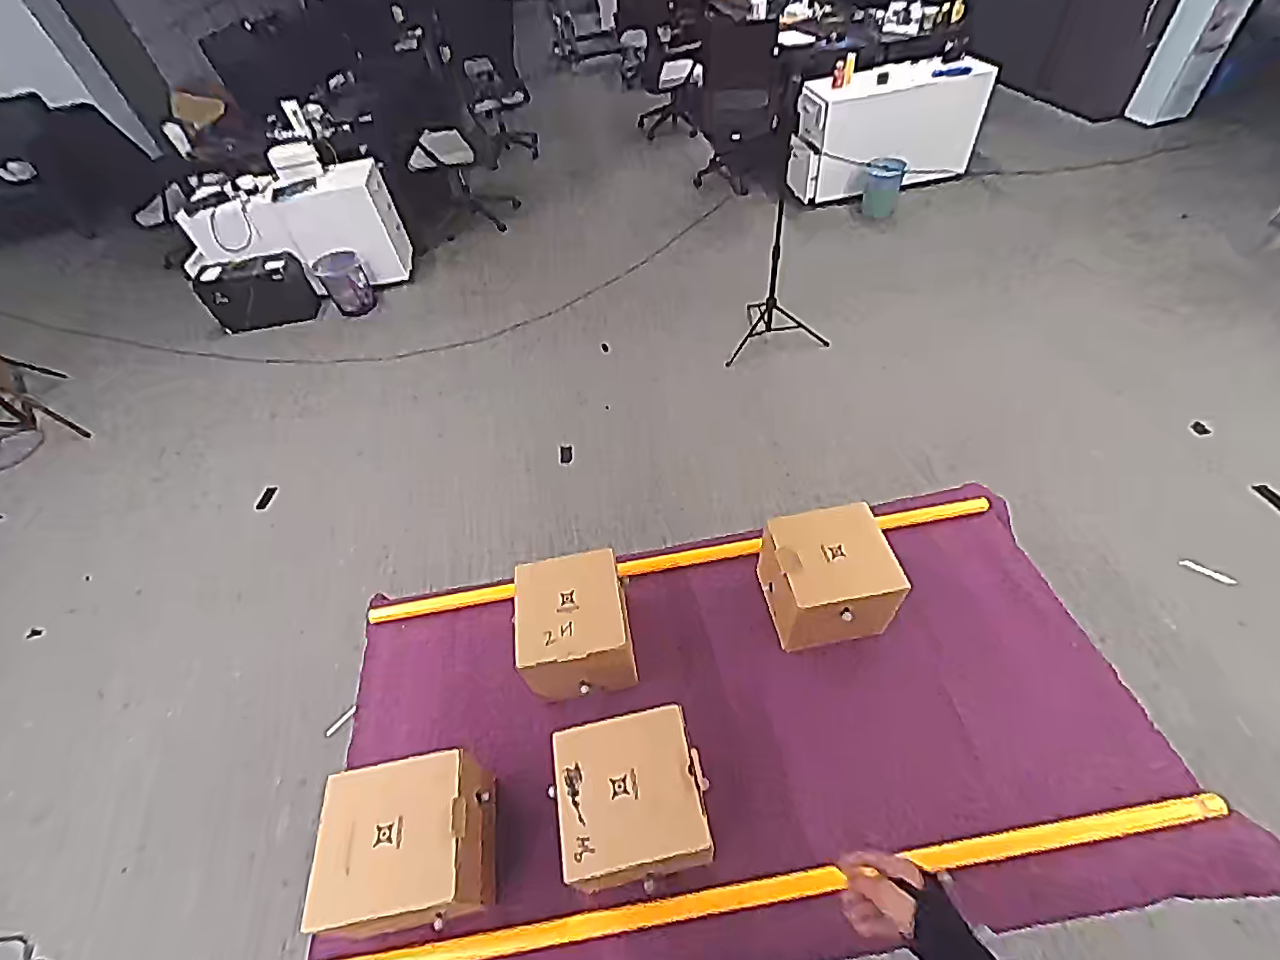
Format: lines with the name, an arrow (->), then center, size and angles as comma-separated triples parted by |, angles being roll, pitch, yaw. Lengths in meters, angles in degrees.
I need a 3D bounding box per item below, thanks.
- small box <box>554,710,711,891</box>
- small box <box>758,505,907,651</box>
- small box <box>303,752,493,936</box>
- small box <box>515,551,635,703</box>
small box -> -0.010, 0.433, 0.728 | 0.179, 0.176, 0.168 | -11, 49, -3
small box -> 0.310, 0.169, 0.912 | 0.179, 0.176, 0.168 | -11, 50, -1
small box -> -0.300, 0.485, 0.719 | 0.179, 0.176, 0.168 | -10, 48, -4
small box -> -0.106, 0.246, 0.900 | 0.168, 0.176, 0.179 | -11, 51, -1
